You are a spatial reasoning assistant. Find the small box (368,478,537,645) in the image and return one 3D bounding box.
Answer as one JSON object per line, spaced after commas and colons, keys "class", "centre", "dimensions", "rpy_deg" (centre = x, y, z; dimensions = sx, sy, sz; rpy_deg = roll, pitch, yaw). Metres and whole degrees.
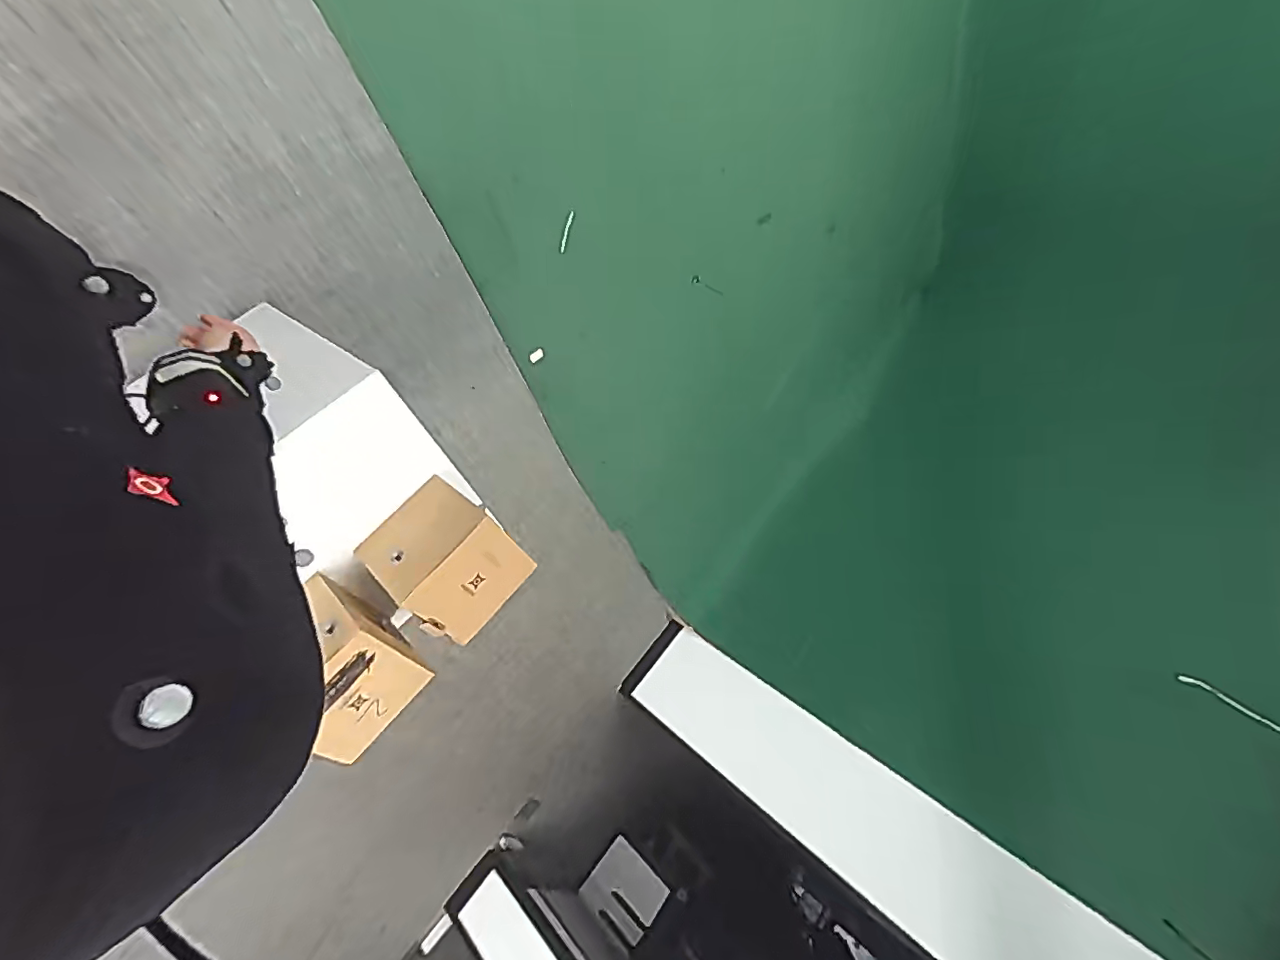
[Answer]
{"class": "small box", "centre": [-0.309, 0.128, 0.880], "dimensions": [0.179, 0.176, 0.168], "rpy_deg": [-50, 142, -17]}
